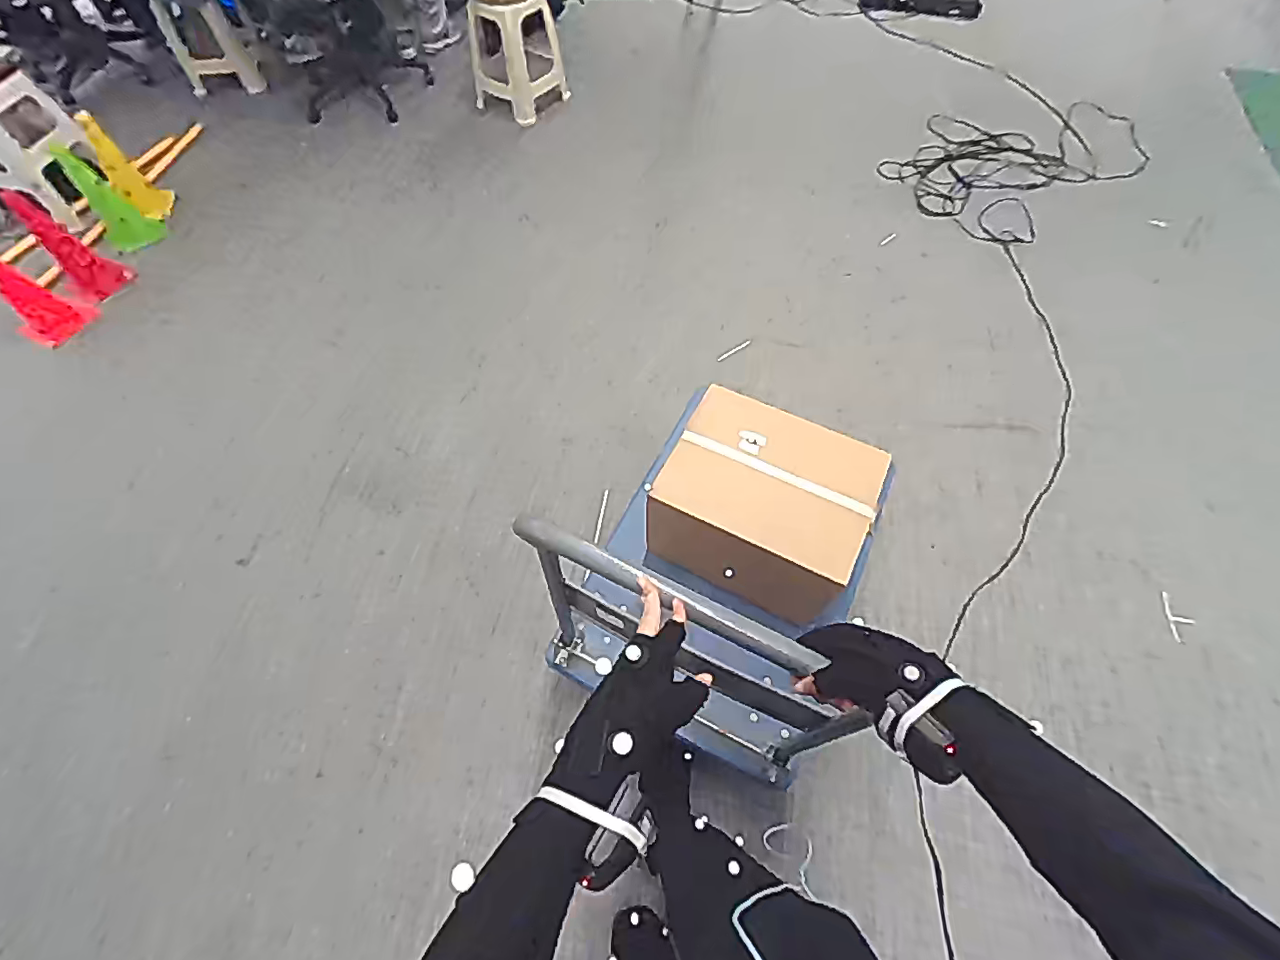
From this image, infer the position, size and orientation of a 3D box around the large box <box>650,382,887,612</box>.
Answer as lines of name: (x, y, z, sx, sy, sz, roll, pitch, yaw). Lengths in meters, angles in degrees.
large box: (0.270, 0.047, 1.218, 0.408, 0.320, 0.320, 24, 64, 15)
